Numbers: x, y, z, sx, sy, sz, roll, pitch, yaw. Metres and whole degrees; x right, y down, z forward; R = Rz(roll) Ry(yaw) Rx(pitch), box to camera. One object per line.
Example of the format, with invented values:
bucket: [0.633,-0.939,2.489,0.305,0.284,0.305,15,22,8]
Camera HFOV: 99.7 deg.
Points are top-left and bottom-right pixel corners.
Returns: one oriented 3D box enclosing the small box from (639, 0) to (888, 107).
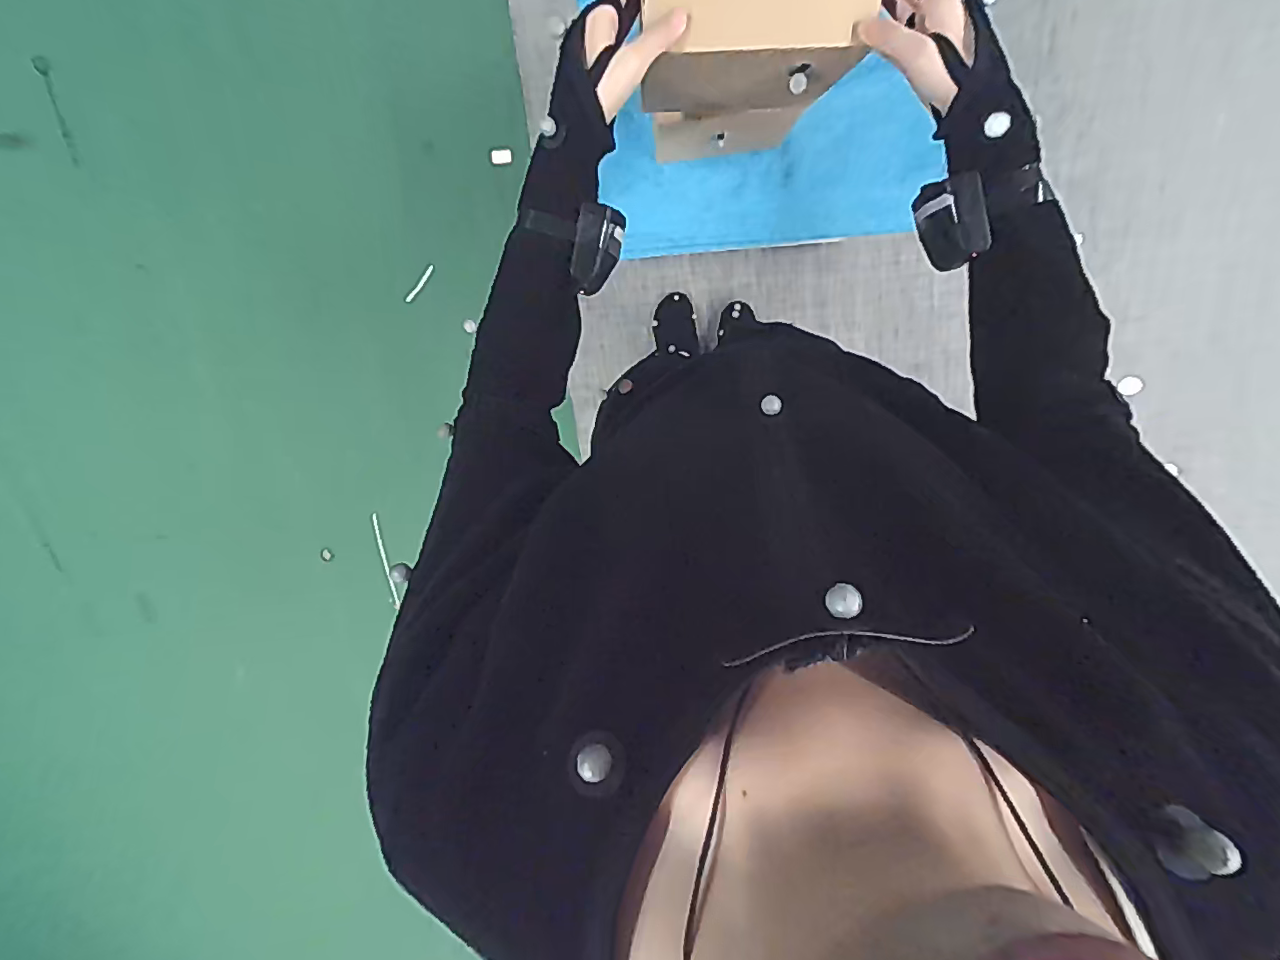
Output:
small box: [0.088,-0.423,0.439,0.179,0.176,0.168,-2,111,0]

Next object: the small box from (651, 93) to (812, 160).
small box: [0.098,-0.509,0.656,0.179,0.176,0.168,-5,106,4]
